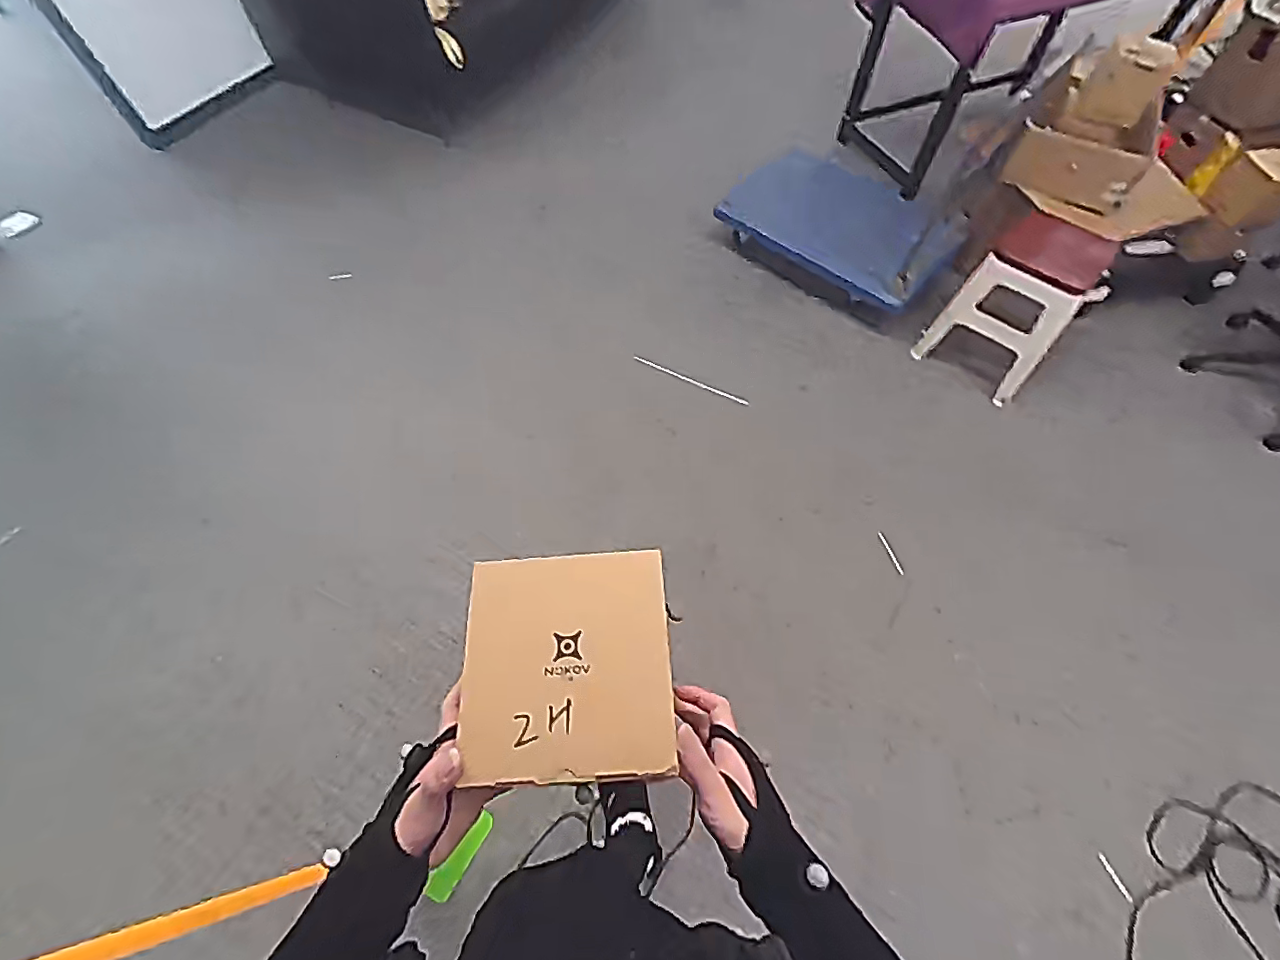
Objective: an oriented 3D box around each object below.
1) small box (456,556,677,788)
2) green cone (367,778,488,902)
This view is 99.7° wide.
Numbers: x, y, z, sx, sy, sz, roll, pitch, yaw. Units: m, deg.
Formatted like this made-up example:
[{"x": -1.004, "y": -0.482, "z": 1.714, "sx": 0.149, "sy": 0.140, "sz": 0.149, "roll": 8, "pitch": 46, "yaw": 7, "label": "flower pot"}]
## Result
[{"x": -0.055, "y": 0.185, "z": 0.507, "sx": 0.168, "sy": 0.176, "sz": 0.179, "roll": -4, "pitch": 61, "yaw": 1, "label": "small box"}, {"x": -0.497, "y": 0.787, "z": 1.161, "sx": 0.202, "sy": 0.368, "sz": 0.200, "roll": 28, "pitch": 65, "yaw": 14, "label": "green cone"}]
